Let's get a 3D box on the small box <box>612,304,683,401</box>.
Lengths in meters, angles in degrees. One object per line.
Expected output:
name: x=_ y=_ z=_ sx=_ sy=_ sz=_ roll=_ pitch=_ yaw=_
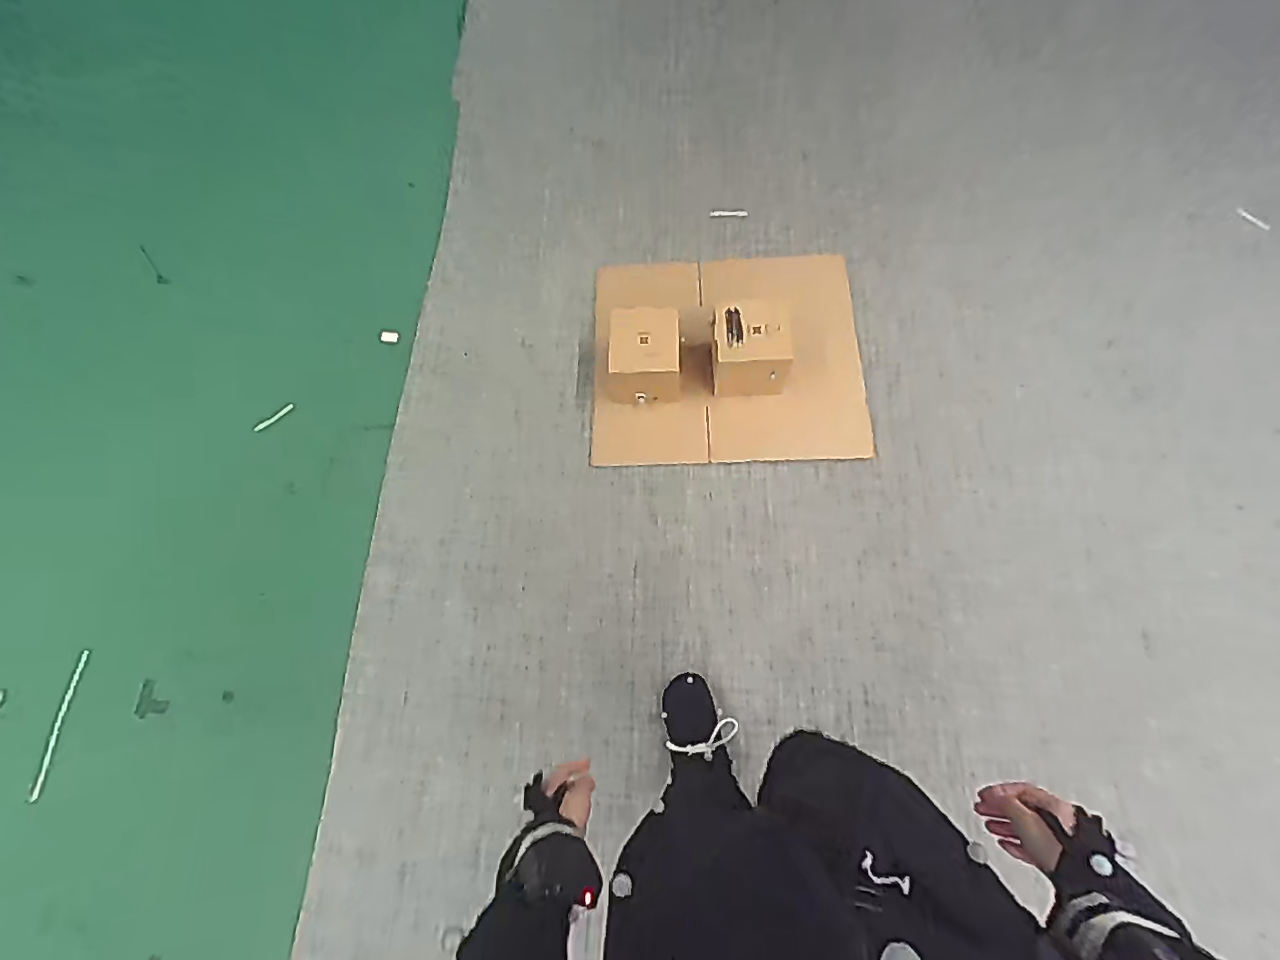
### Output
small box: x=0.022 y=-0.311 z=1.340 sx=0.168 sy=0.176 sz=0.179 roll=-1 pitch=73 yaw=4
